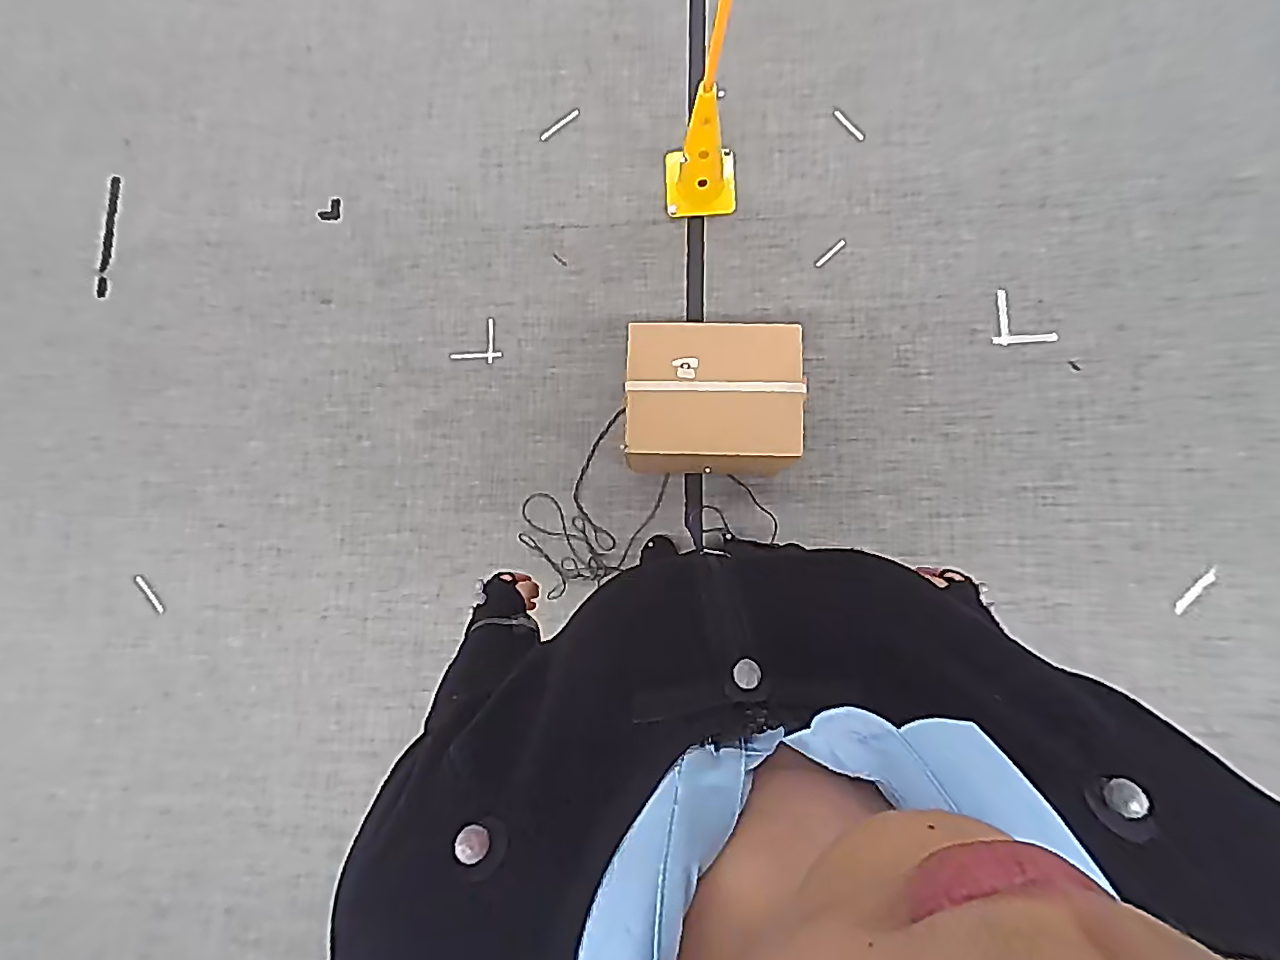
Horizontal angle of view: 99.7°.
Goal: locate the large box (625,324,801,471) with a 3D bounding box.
[{"bbox_3d":[0.176,-0.194,1.397,0.408,0.320,0.320,1,82,3],"label":"large box"}]
